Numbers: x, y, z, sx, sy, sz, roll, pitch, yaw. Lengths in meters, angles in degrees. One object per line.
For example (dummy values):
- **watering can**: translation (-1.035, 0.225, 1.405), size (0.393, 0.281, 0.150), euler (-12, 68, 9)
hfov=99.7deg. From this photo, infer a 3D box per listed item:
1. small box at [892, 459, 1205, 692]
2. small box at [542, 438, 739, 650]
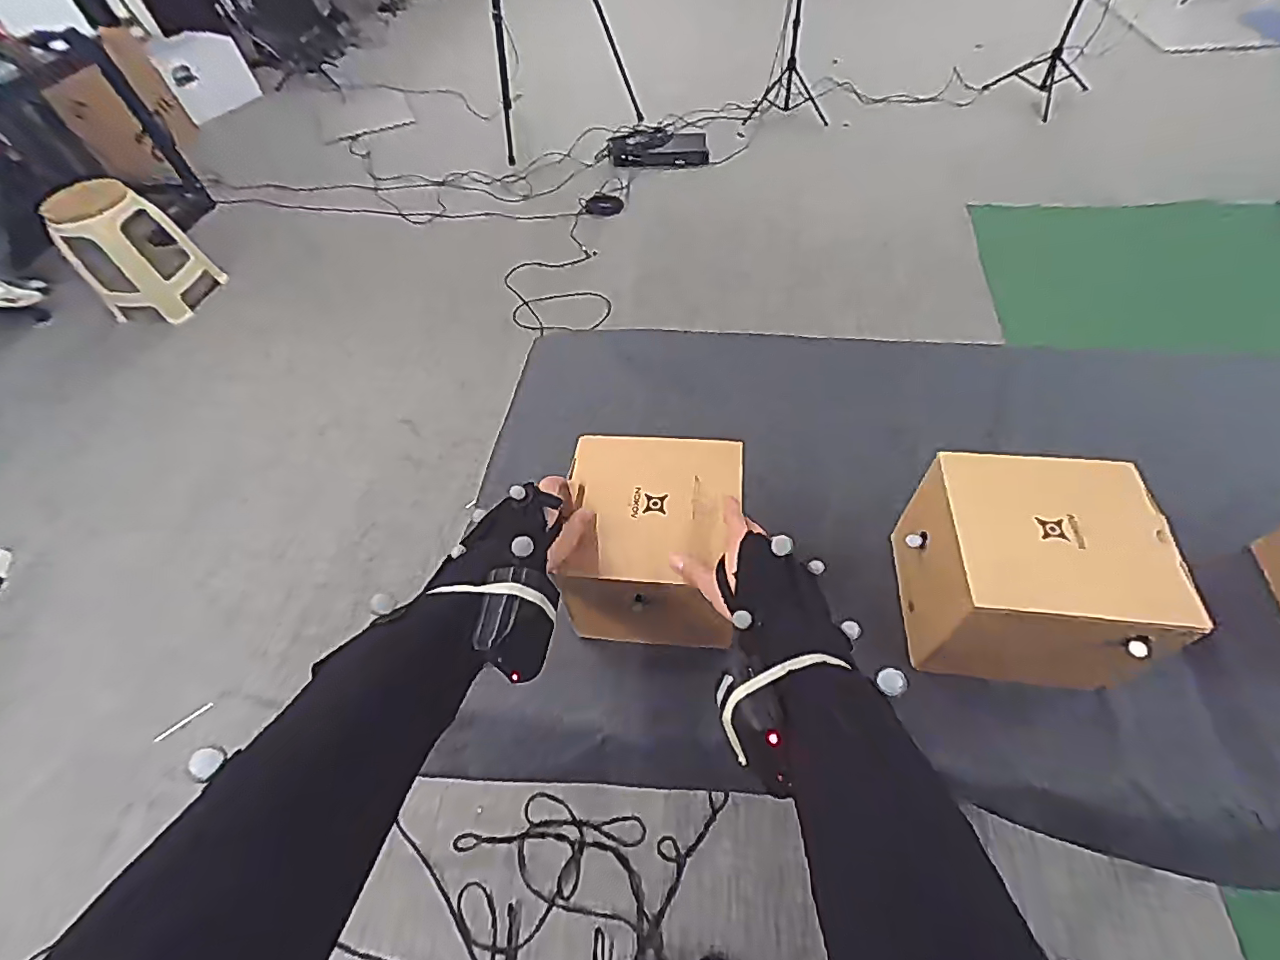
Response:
- **small box**: translation (0.365, 0.097, 0.535), size (0.179, 0.176, 0.168), euler (4, 54, 7)
- **small box**: translation (0.011, 0.073, 0.583), size (0.179, 0.176, 0.168), euler (4, 55, 6)
